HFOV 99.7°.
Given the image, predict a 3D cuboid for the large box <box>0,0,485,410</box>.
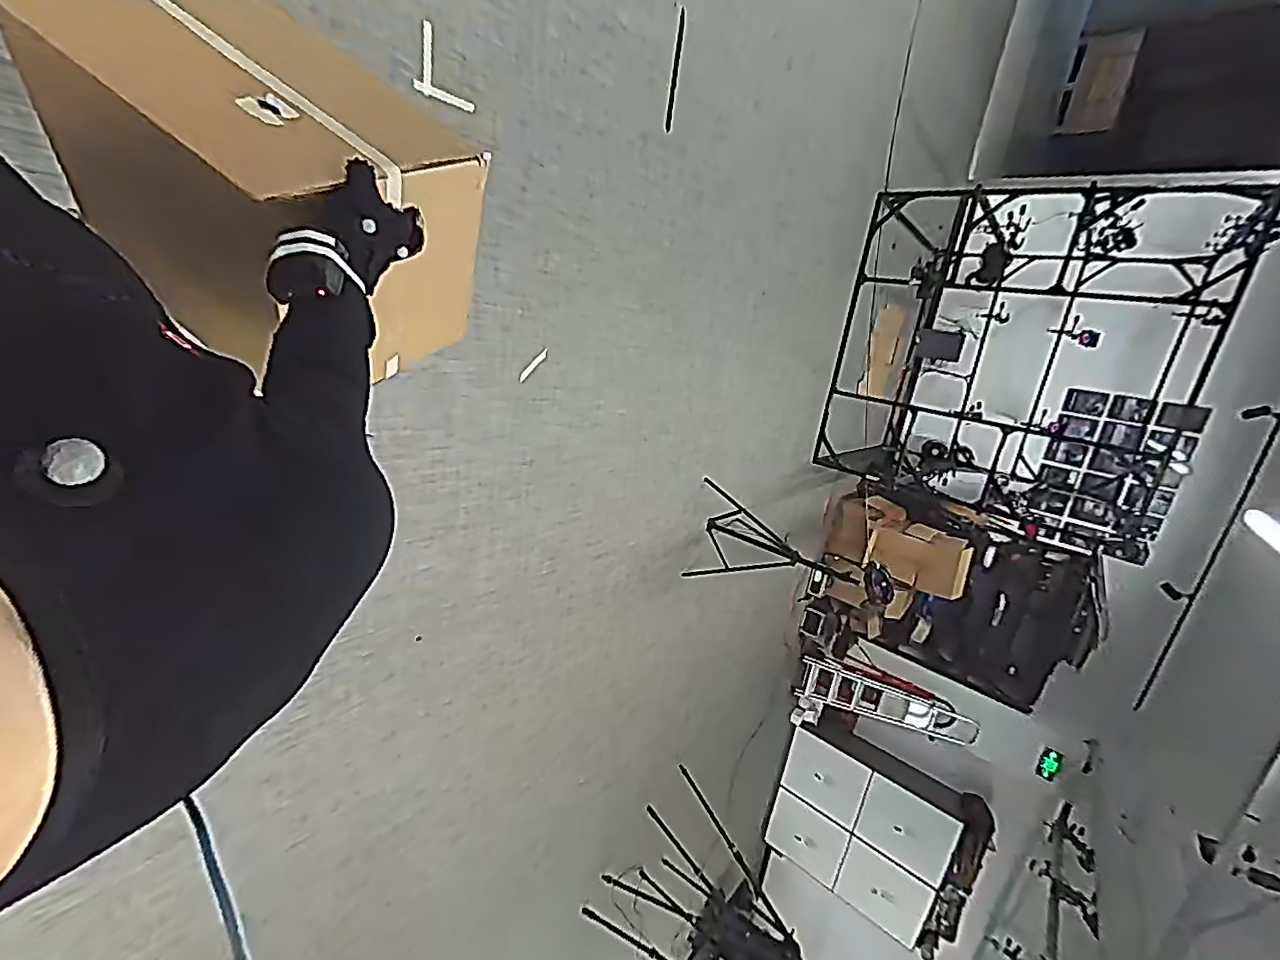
[{"bbox_3d":[-0.492,-0.374,0.744,0.320,0.408,0.320,-47,172,-42],"label":"large box"}]
